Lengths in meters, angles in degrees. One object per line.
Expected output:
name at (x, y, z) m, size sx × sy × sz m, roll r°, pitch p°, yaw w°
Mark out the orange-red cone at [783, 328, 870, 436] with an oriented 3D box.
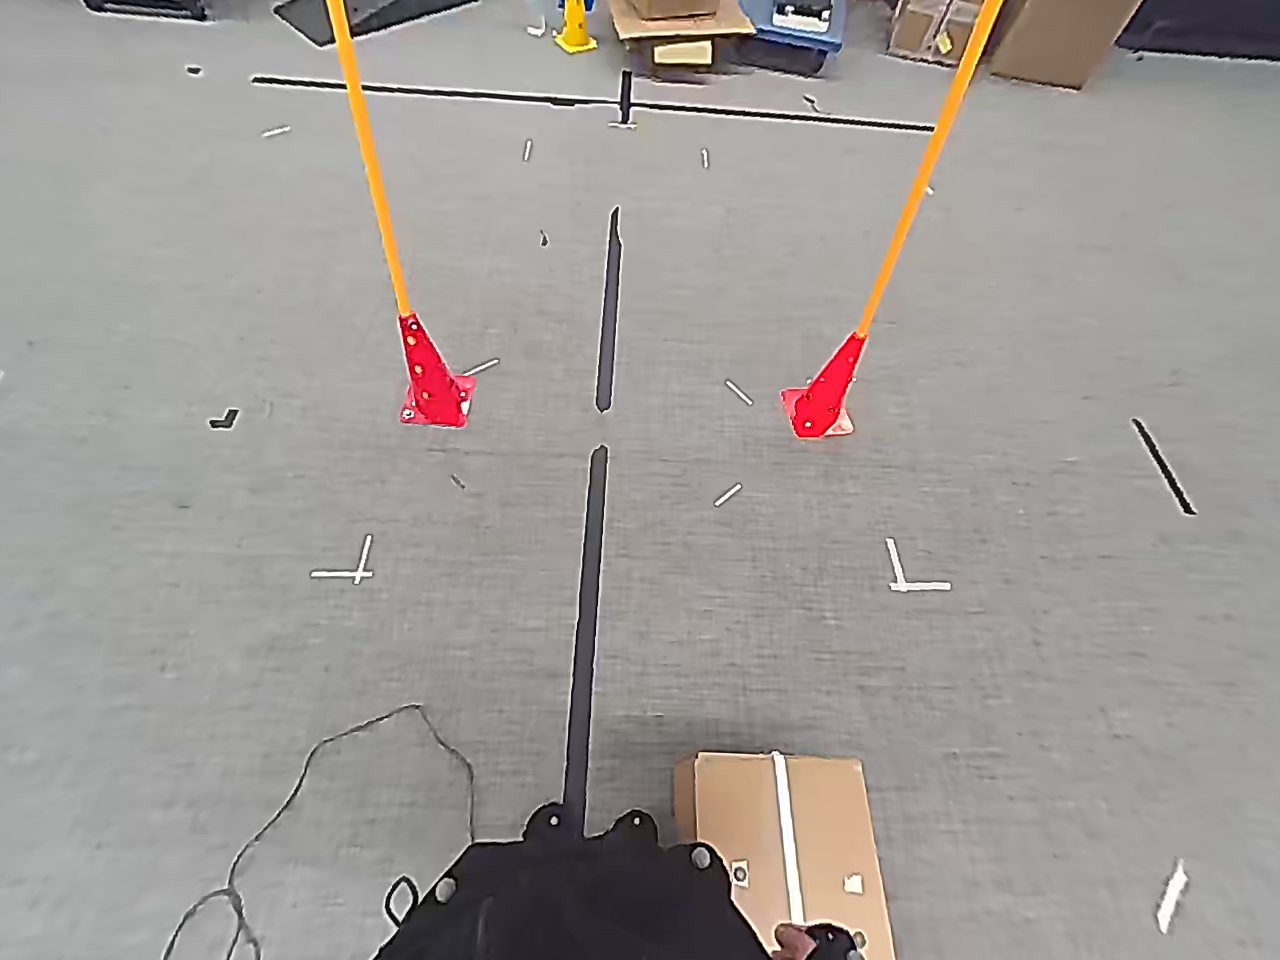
orange-red cone at (0.592, -0.313, 1.613) m, size 0.199 × 0.360 × 0.198 m, roll -5°, pitch 61°, yaw -8°
